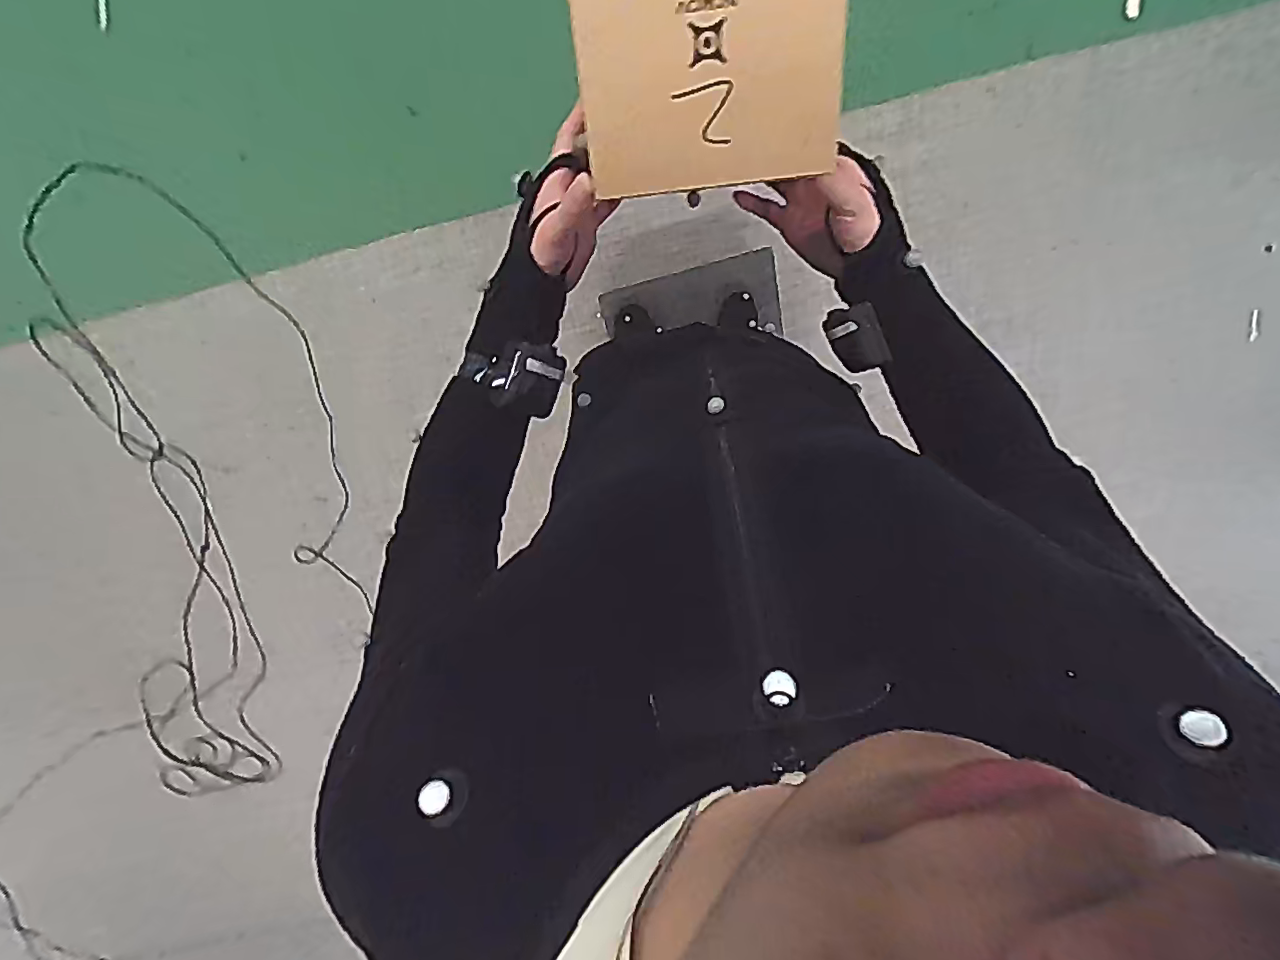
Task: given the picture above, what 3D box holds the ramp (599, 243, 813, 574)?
[{"bbox_3d":[0.249,-0.149,1.671,0.509,0.206,0.991,-17,108,3],"label":"ramp"}]
